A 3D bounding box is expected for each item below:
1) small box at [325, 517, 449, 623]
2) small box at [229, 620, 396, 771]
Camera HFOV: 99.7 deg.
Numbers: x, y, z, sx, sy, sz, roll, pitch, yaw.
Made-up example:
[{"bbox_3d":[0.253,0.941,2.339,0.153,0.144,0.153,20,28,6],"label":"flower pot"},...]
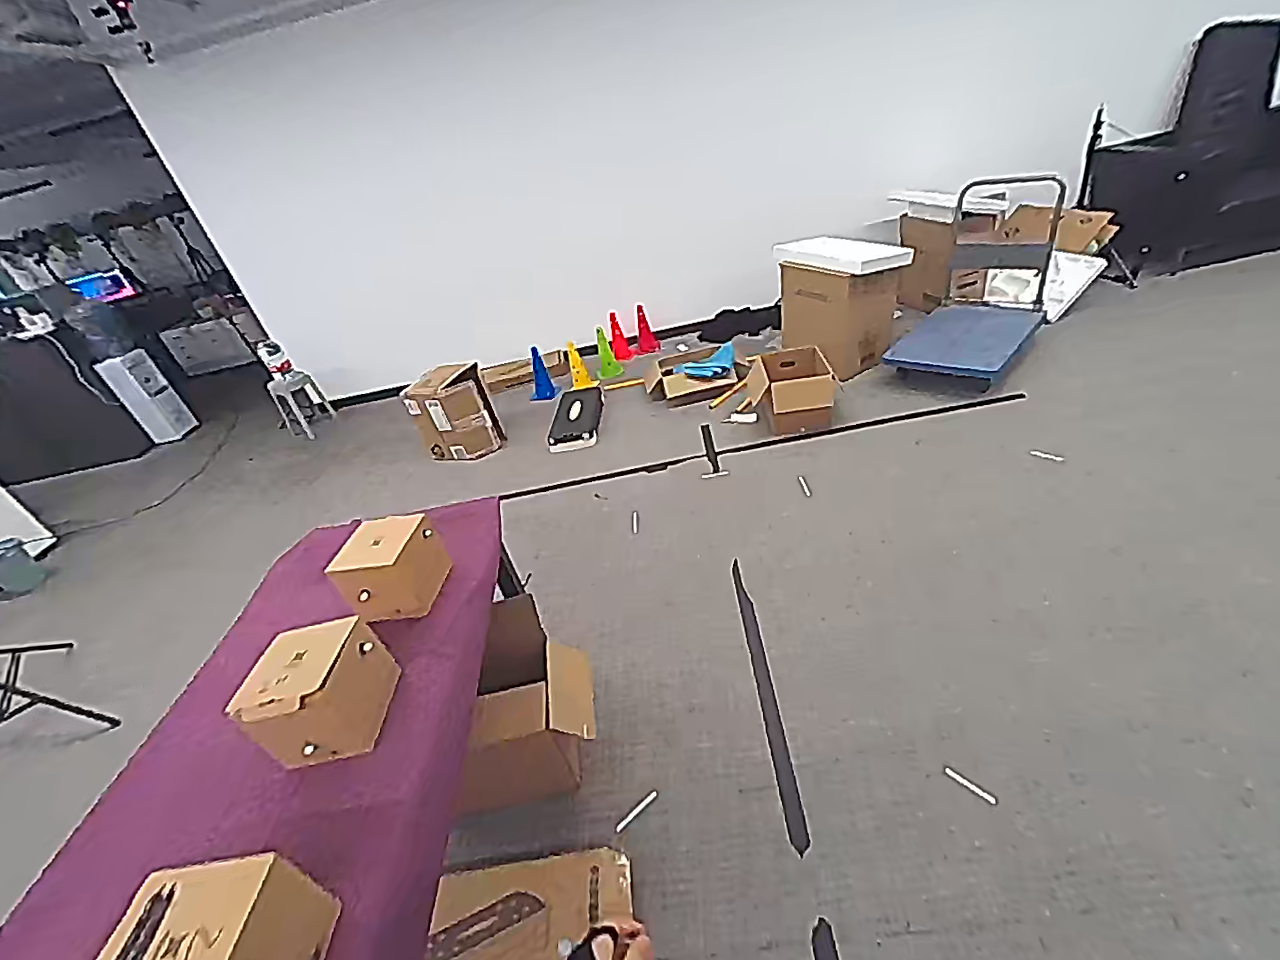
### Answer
[{"bbox_3d":[-0.566,0.211,1.240,0.168,0.176,0.179,-8,33,9],"label":"small box"},{"bbox_3d":[-0.570,0.386,0.974,0.168,0.176,0.179,-14,33,5],"label":"small box"}]
